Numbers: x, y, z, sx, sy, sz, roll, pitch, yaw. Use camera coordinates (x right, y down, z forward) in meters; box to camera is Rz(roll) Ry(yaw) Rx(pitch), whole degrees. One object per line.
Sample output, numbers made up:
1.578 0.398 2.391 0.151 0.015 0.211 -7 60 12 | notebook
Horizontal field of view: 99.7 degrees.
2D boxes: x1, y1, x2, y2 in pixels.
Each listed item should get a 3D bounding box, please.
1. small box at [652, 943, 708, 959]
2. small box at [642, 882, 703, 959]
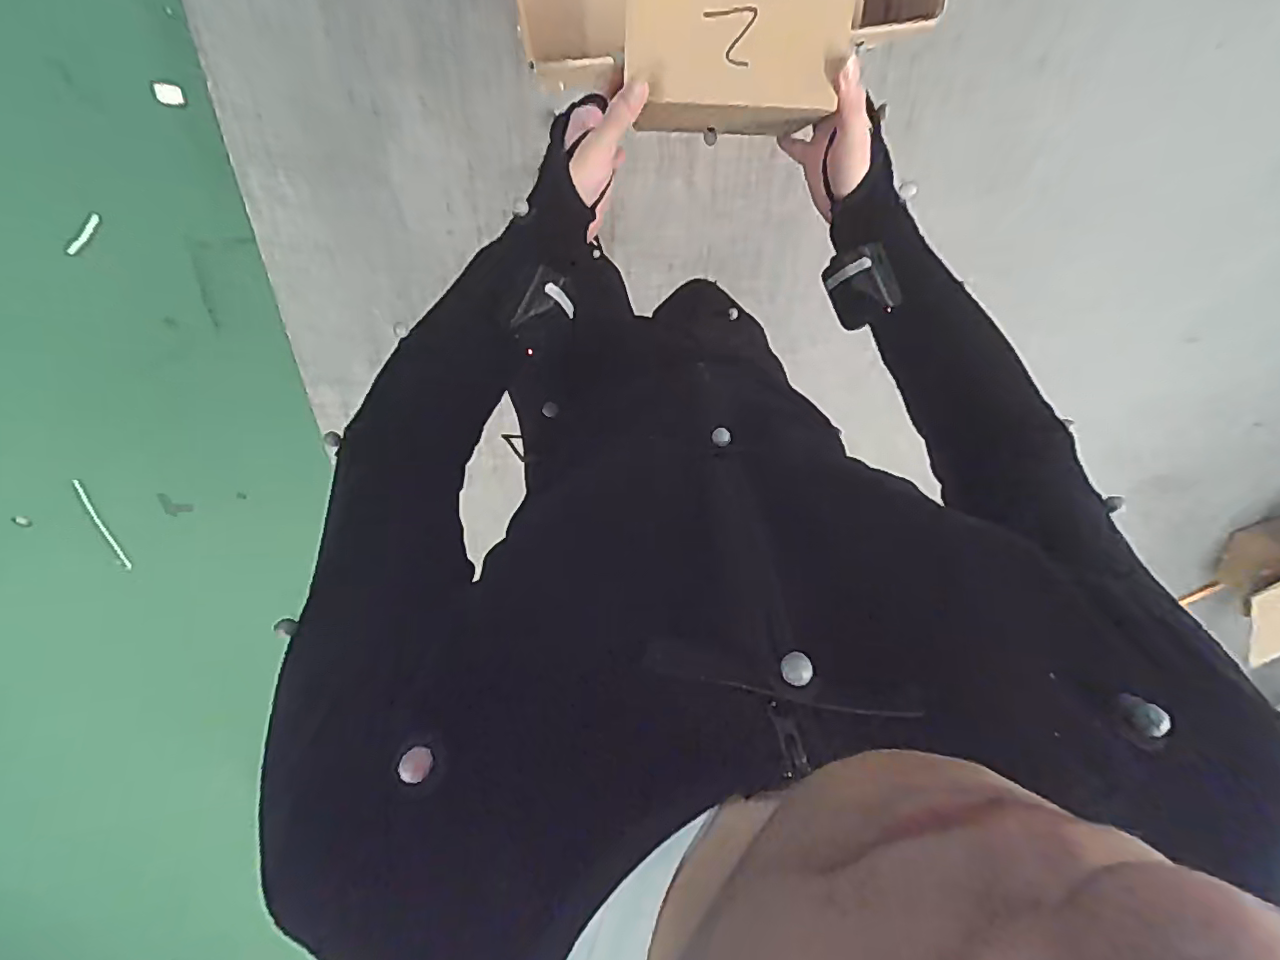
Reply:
0.134 1.525 1.616 0.168 0.176 0.179 -9 123 -6 | small box
0.106 1.451 1.762 0.168 0.176 0.179 -11 124 -6 | small box
